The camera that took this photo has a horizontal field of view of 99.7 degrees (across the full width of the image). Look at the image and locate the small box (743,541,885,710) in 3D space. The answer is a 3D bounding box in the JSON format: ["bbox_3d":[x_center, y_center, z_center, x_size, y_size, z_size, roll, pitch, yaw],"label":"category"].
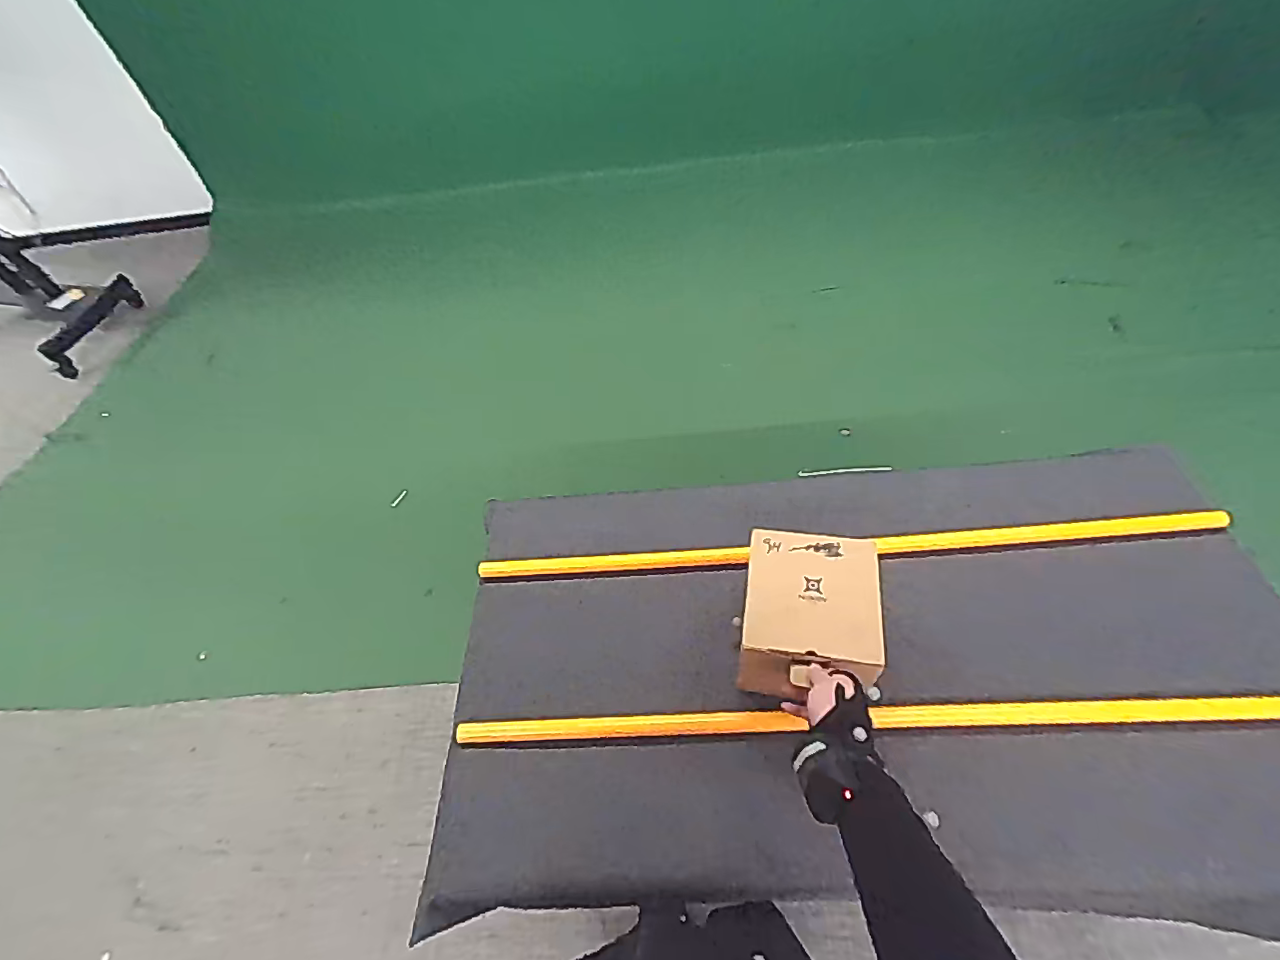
[{"bbox_3d":[0.232,0.205,0.755,0.168,0.176,0.179,1,51,12],"label":"small box"}]
